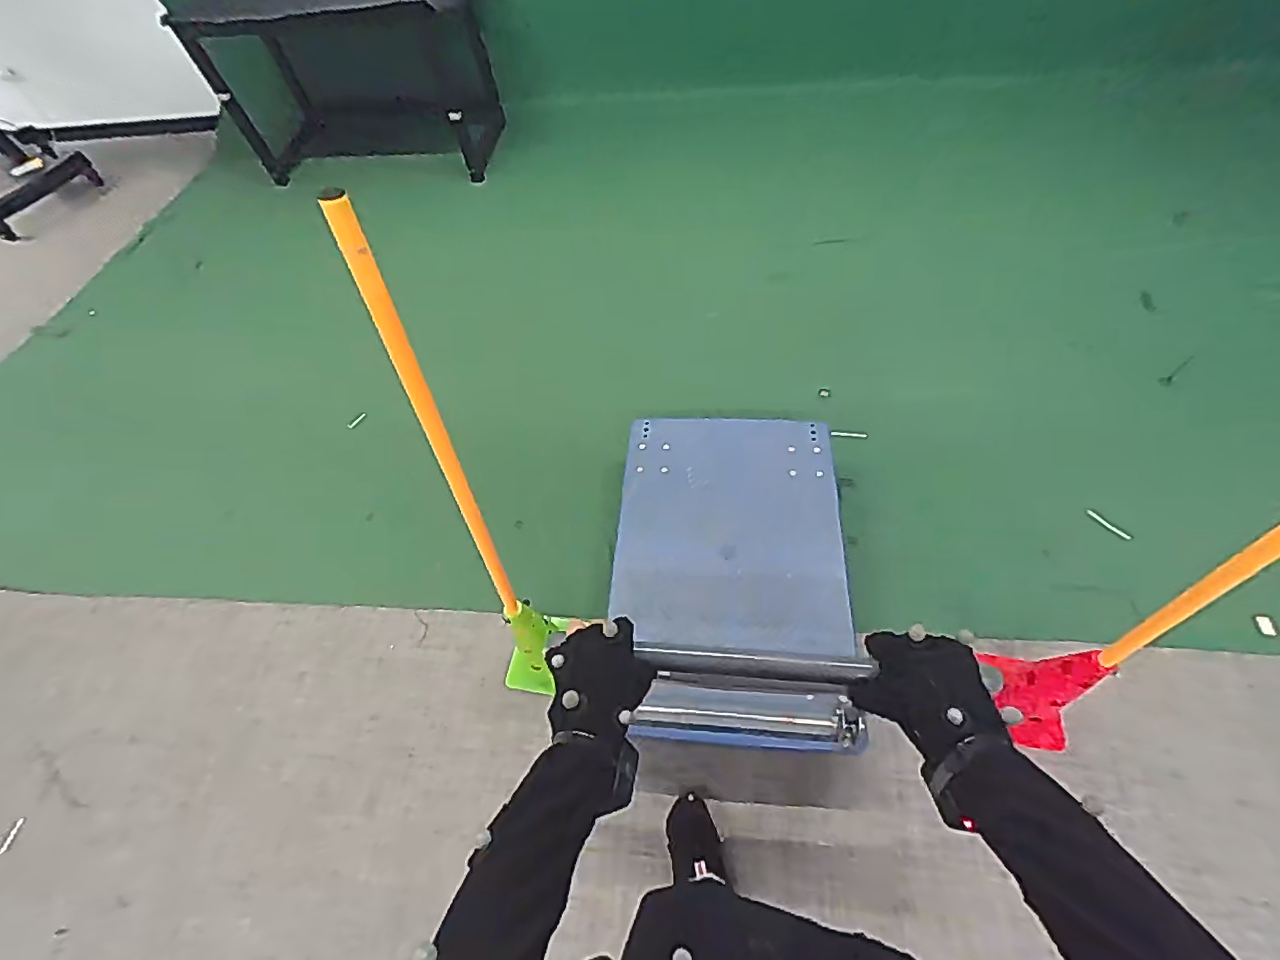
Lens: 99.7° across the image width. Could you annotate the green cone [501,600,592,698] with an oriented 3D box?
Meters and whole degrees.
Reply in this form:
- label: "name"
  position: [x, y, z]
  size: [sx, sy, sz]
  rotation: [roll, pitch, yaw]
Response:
- label: "green cone"
  position: [-0.257, 0.373, 1.307]
  size: [0.202, 0.368, 0.200]
  rotation: [5, 57, 10]
